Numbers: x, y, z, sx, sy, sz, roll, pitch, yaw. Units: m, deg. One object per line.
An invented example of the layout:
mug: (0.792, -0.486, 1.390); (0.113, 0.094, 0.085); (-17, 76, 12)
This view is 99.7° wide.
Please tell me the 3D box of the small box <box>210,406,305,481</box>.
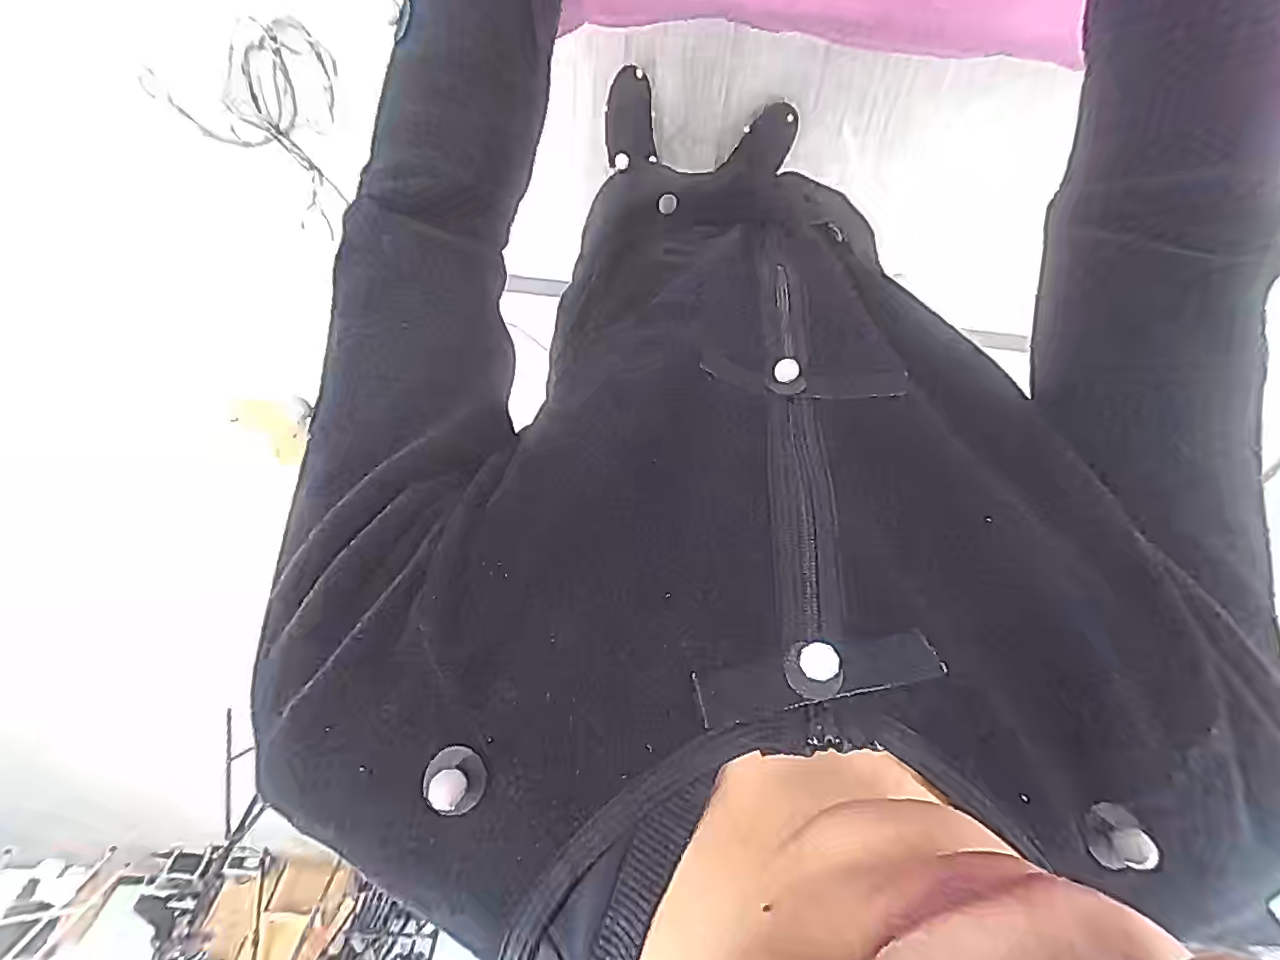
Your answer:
small box: (-1.231, -0.122, 1.754); (0.179, 0.176, 0.168); (8, 129, -5)
